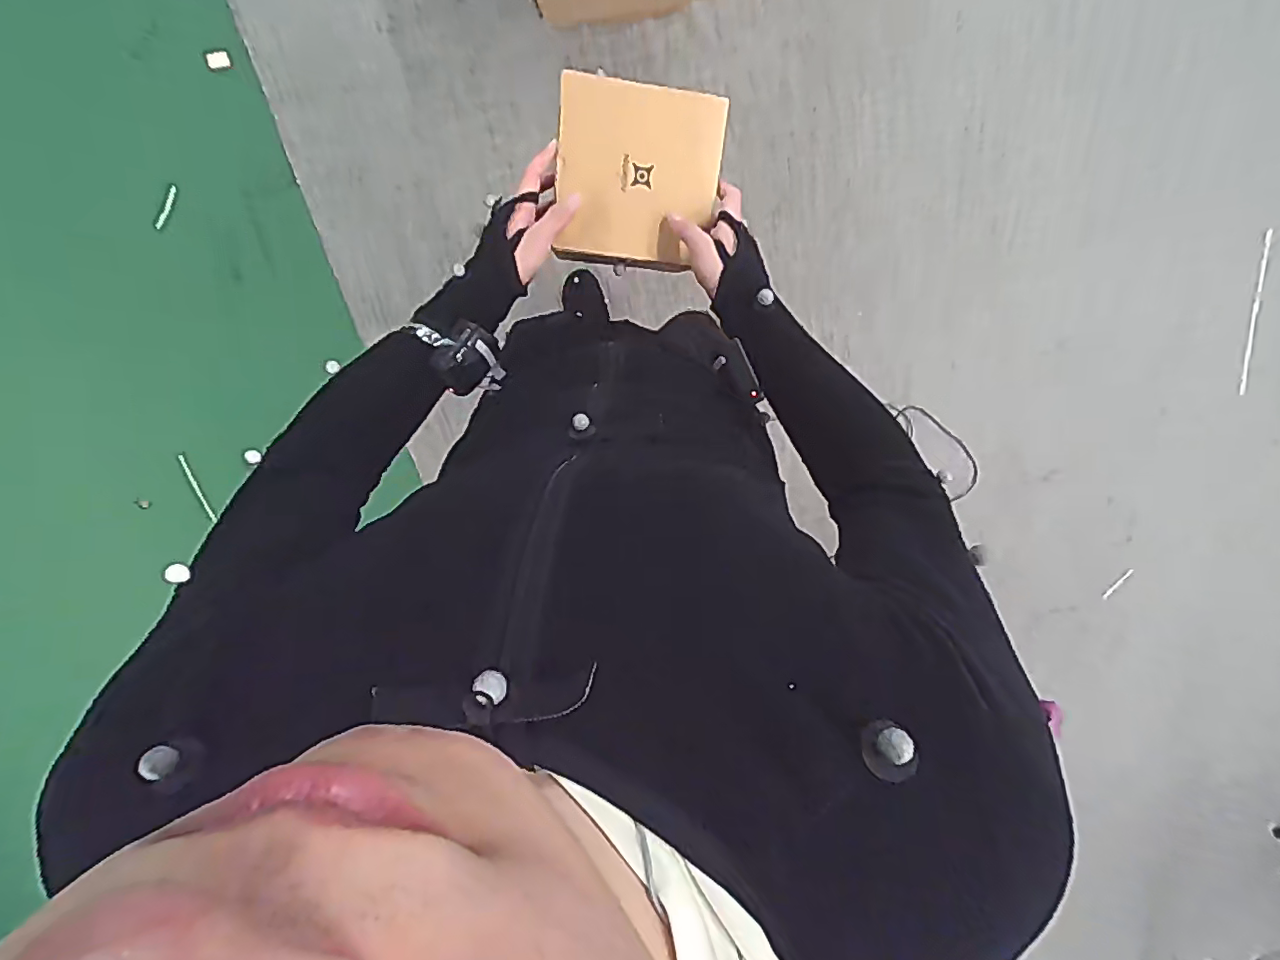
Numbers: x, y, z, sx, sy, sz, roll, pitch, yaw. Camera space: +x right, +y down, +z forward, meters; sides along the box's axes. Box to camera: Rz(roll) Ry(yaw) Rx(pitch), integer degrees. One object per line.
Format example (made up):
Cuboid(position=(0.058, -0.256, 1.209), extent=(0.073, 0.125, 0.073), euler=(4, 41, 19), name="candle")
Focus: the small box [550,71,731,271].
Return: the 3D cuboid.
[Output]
Cuboid(position=(-0.009, -0.344, 0.639), extent=(0.179, 0.176, 0.168), euler=(4, 109, -7), name="small box")
